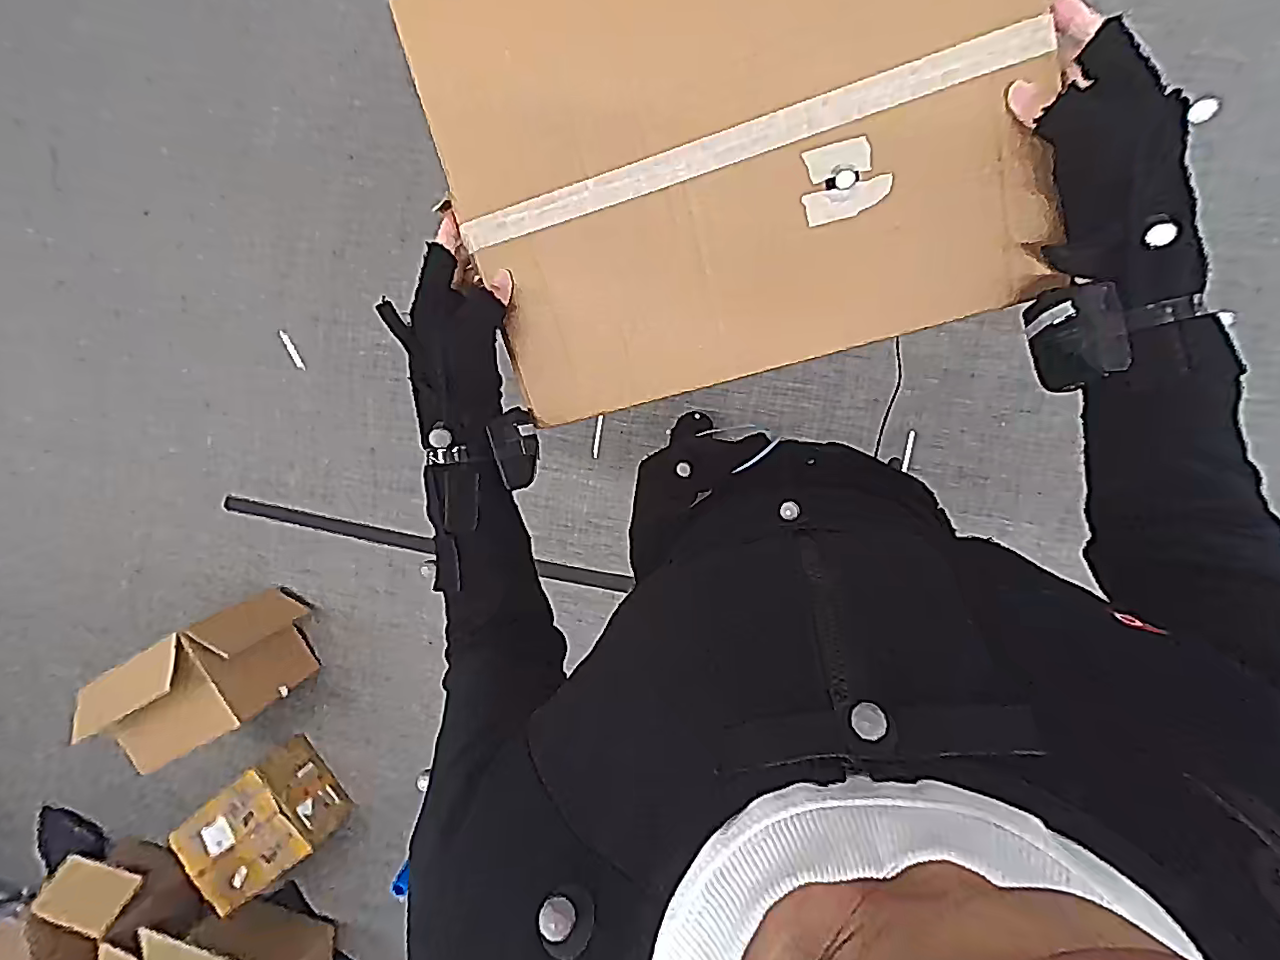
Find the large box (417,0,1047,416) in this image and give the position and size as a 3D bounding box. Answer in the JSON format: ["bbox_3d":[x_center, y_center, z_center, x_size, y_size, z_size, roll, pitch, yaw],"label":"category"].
[{"bbox_3d":[0.081,-0.282,0.531,0.408,0.320,0.320,-13,106,10],"label":"large box"}]
